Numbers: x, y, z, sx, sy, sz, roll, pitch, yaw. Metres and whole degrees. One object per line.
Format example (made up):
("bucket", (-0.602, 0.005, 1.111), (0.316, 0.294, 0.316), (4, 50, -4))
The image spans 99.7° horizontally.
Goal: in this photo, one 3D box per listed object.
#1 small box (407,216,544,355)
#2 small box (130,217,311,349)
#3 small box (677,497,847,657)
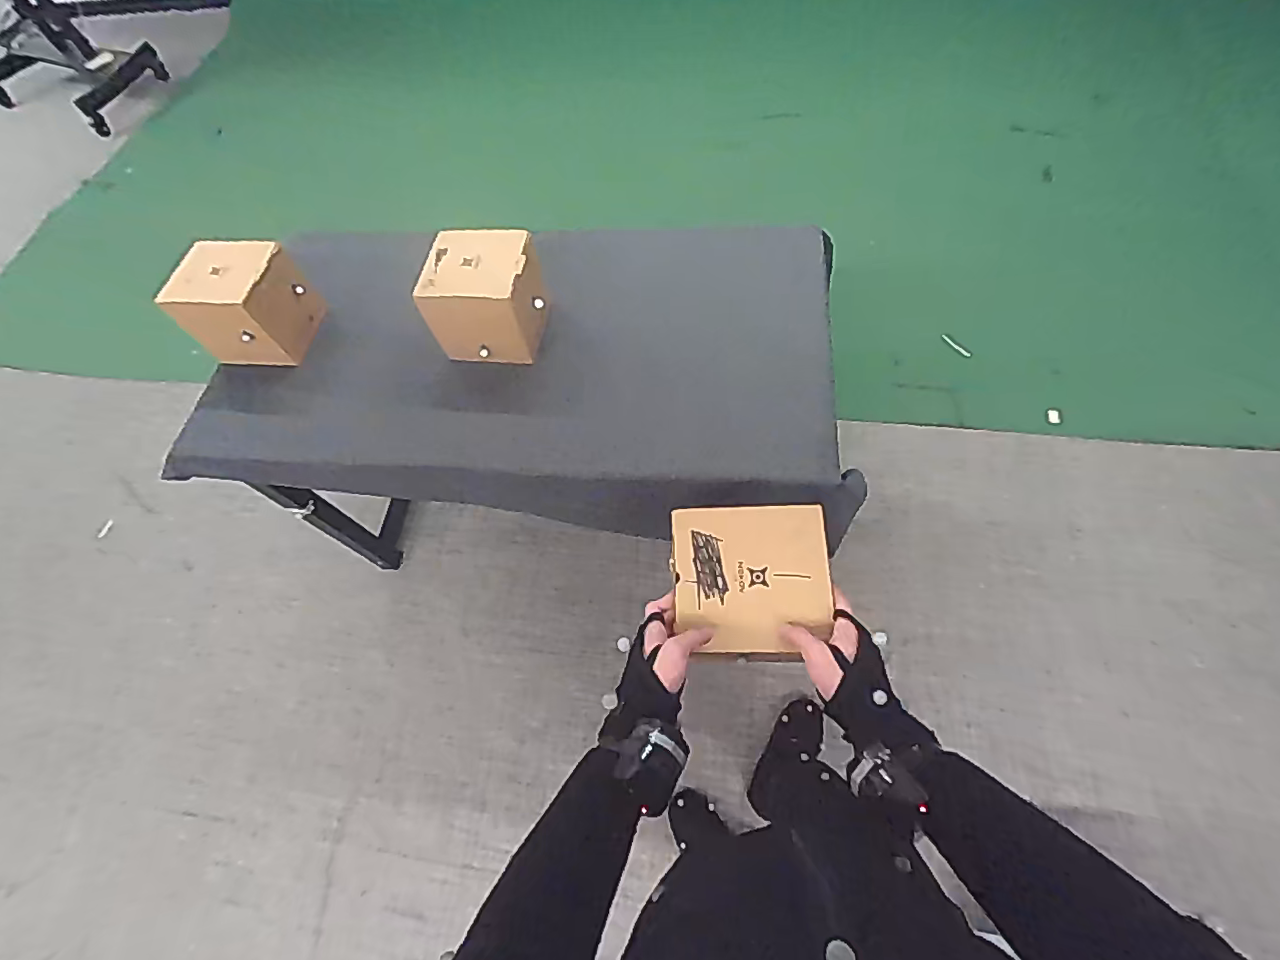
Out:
("small box", (-0.284, -0.347, 0.983), (0.179, 0.176, 0.168), (6, 62, 5))
("small box", (-0.764, -0.362, 1.012), (0.179, 0.176, 0.168), (3, 60, 5))
("small box", (0.135, 0.126, 0.666), (0.179, 0.176, 0.168), (-1, 68, 4))
